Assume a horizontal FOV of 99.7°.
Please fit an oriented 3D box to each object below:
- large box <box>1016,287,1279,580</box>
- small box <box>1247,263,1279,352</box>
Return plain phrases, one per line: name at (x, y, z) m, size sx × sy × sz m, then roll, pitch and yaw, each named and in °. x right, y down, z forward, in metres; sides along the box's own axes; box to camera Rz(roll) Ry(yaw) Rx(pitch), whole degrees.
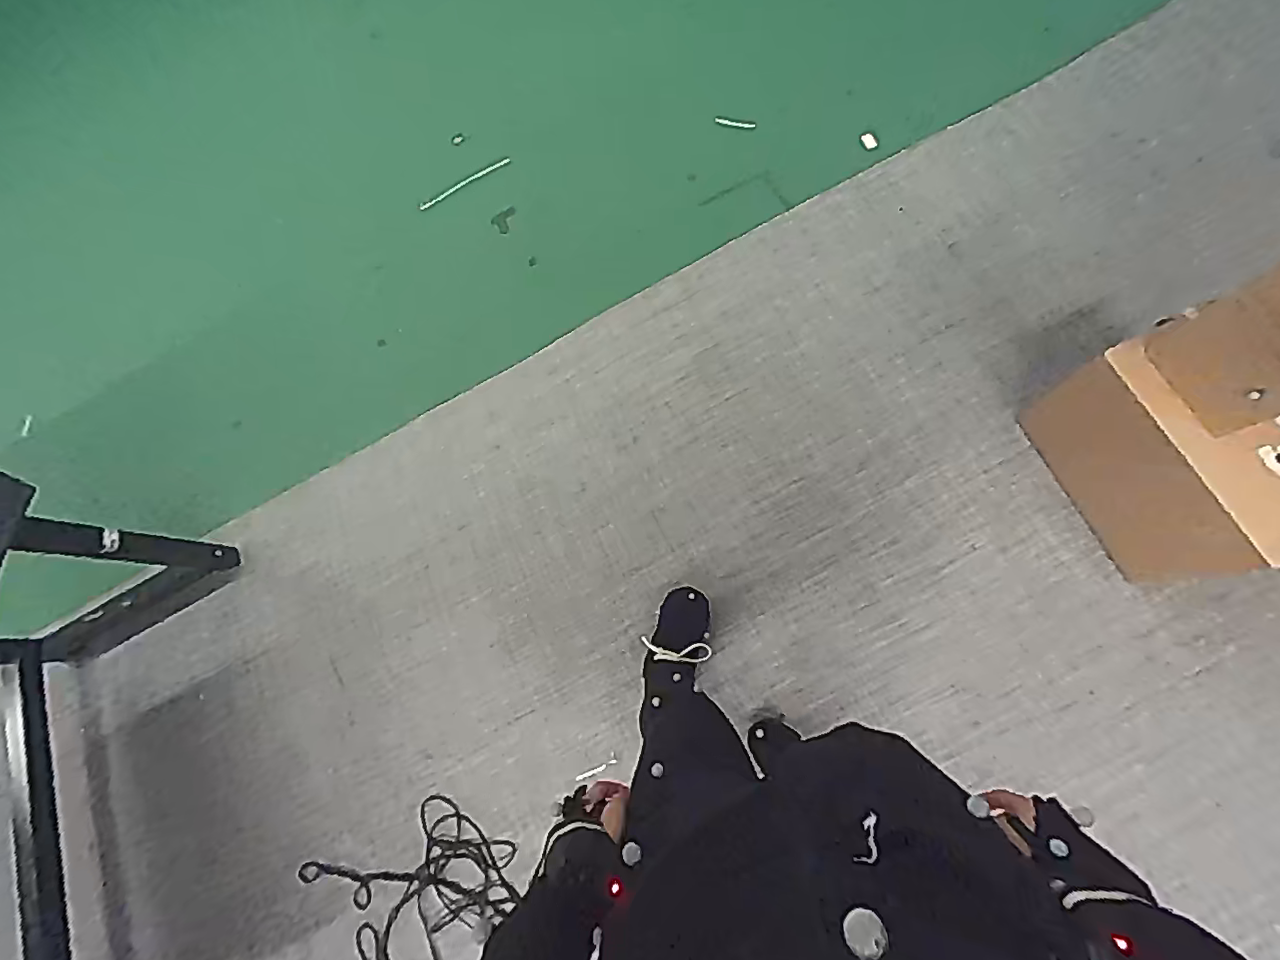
large box at (1.016, -0.066, 0.994) m, size 0.320 × 0.320 × 0.408 m, roll -25°, pitch 73°, yaw 4°
small box at (0.895, -0.231, 0.632) m, size 0.179 × 0.176 × 0.168 m, roll -21°, pitch 75°, yaw 3°
